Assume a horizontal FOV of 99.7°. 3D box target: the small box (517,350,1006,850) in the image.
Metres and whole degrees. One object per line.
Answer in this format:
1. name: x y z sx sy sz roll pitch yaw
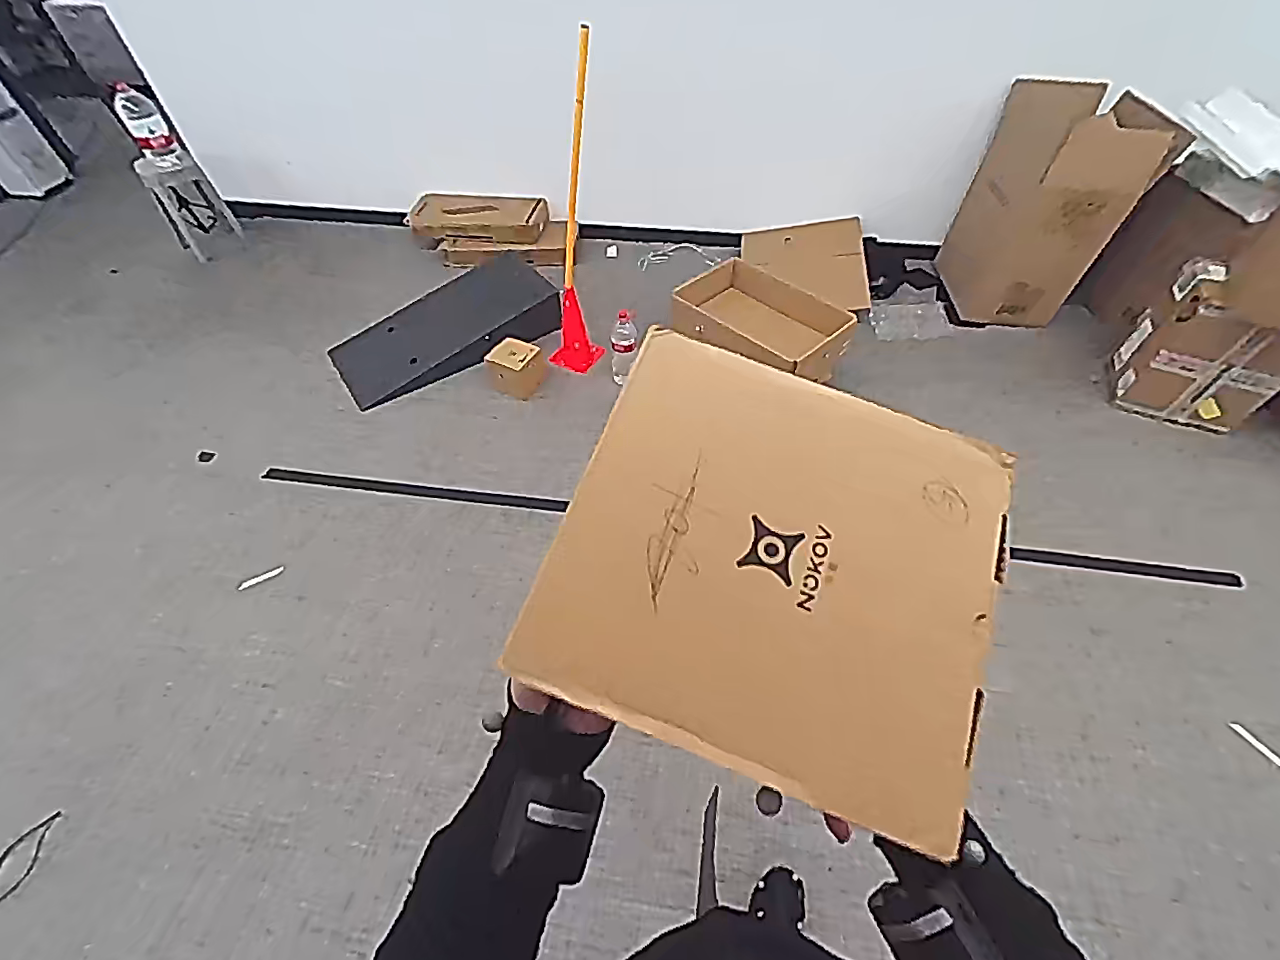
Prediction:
1. small box: 0.057 0.063 0.304 0.179 0.176 0.168 20 69 5
